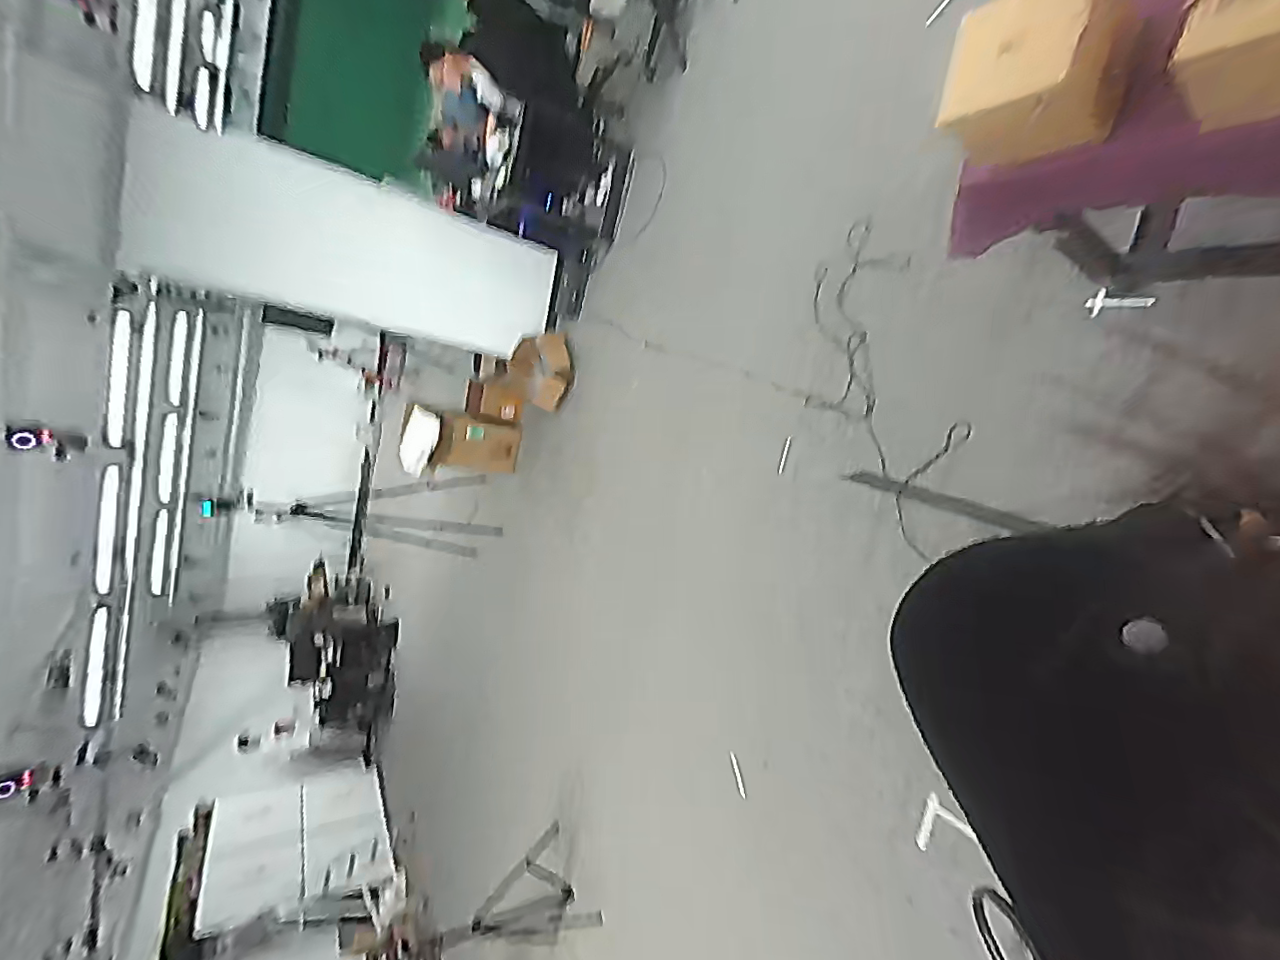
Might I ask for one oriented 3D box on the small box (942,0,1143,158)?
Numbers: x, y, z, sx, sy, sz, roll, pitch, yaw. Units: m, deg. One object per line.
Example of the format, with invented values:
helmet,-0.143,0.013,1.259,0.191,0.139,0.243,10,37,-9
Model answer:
small box,0.596,-0.616,0.806,0.179,0.176,0.168,20,101,54
